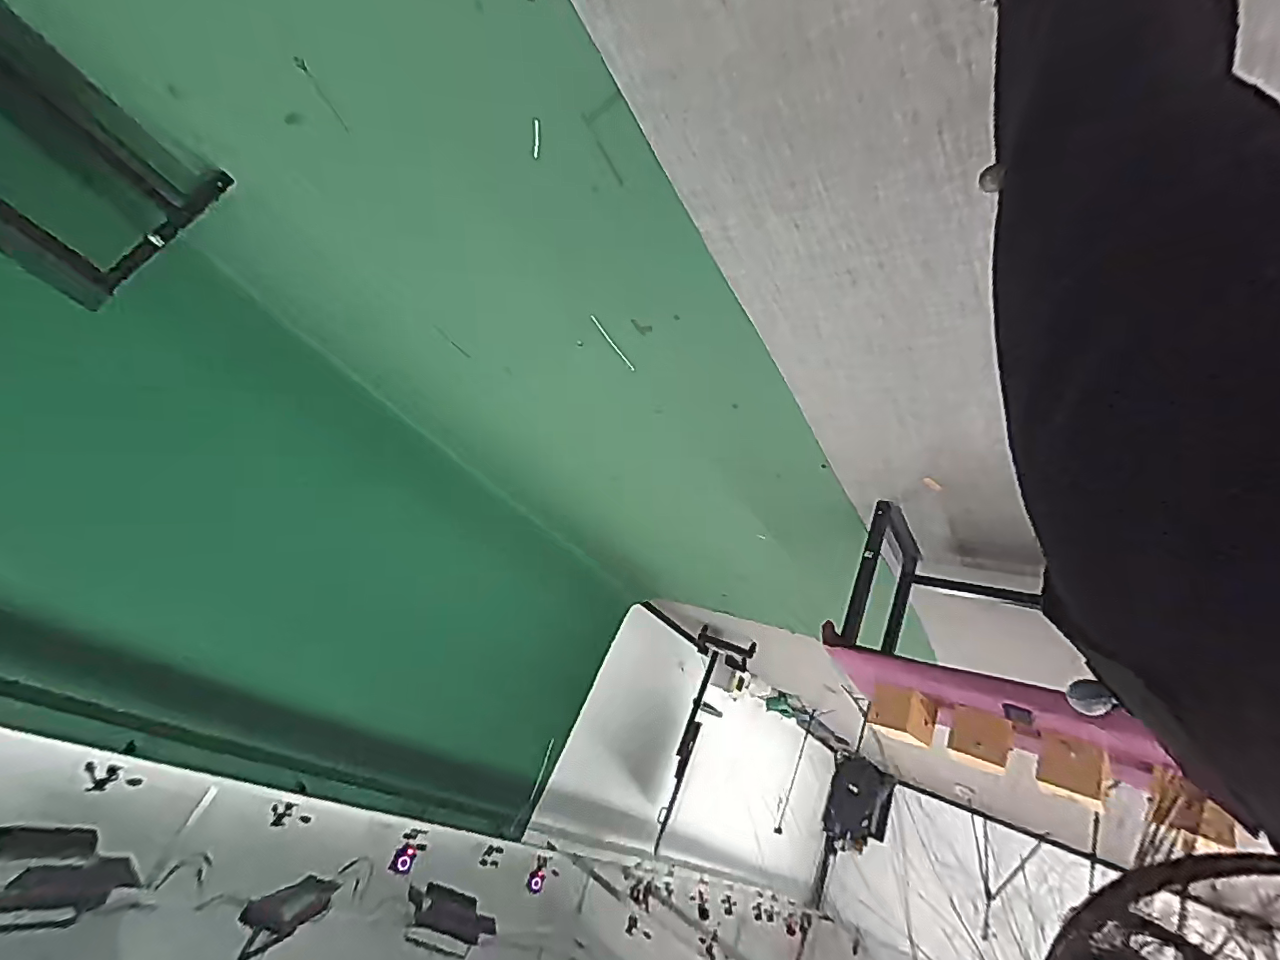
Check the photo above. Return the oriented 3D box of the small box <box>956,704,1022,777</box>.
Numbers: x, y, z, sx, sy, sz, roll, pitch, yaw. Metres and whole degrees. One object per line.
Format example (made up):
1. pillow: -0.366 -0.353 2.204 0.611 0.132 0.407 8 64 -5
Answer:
1. small box: 1.246 0.921 1.923 0.179 0.176 0.168 7 149 39

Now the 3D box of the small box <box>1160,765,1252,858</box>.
1. small box: 1.640 0.958 1.575 0.168 0.176 0.179 6 148 42

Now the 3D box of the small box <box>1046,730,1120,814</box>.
1. small box: 1.442 0.943 1.755 0.168 0.176 0.179 1 145 46

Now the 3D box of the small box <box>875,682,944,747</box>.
1. small box: 1.050 0.901 2.091 0.168 0.176 0.179 35 156 -21
